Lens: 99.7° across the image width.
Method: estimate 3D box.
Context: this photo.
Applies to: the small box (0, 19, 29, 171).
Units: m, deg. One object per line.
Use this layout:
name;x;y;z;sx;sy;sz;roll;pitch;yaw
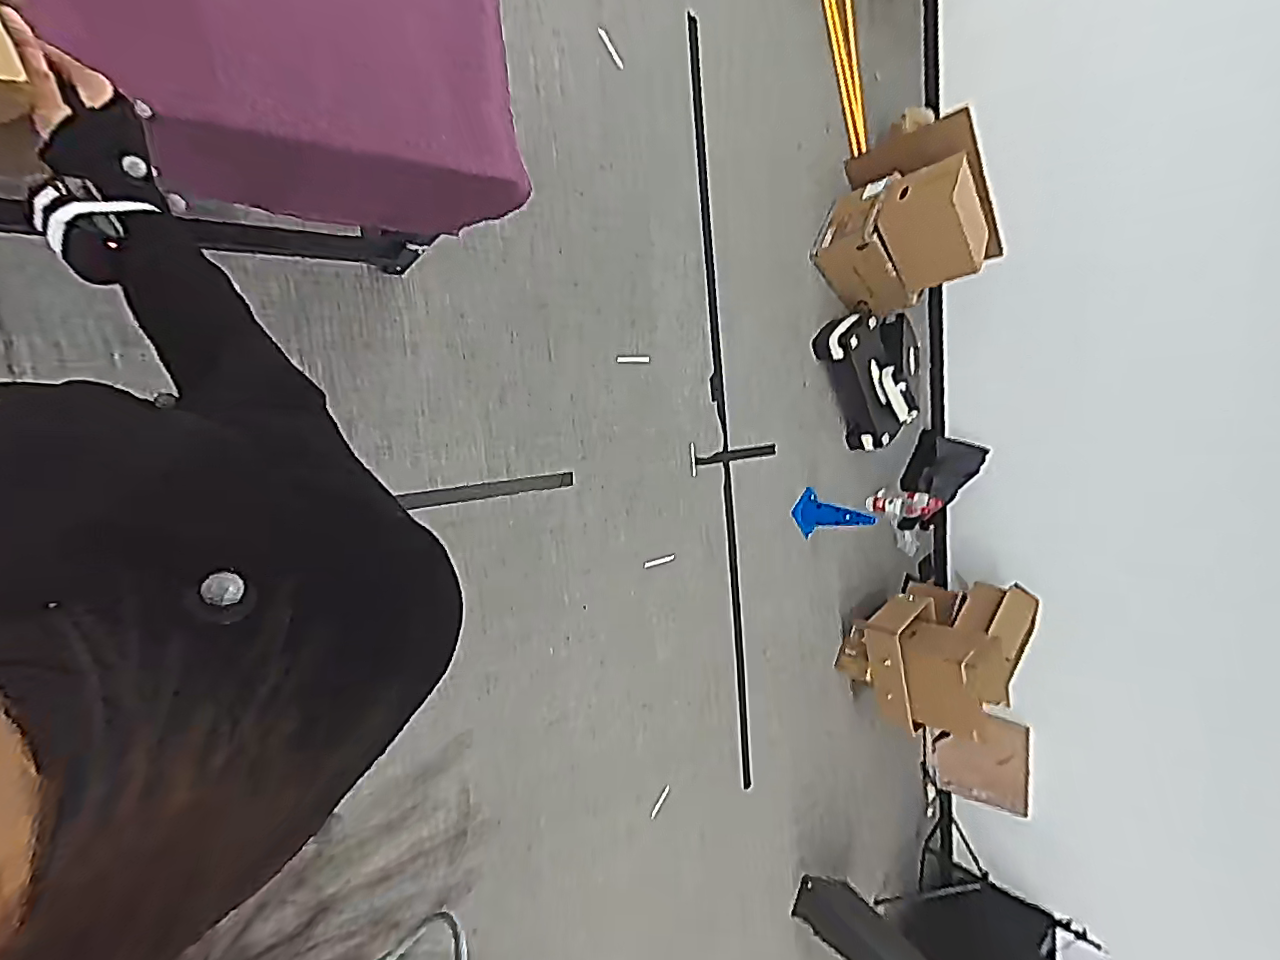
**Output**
small box;-0.569;-0.330;0.363;0.179;0.176;0.168;-27;109;-45
